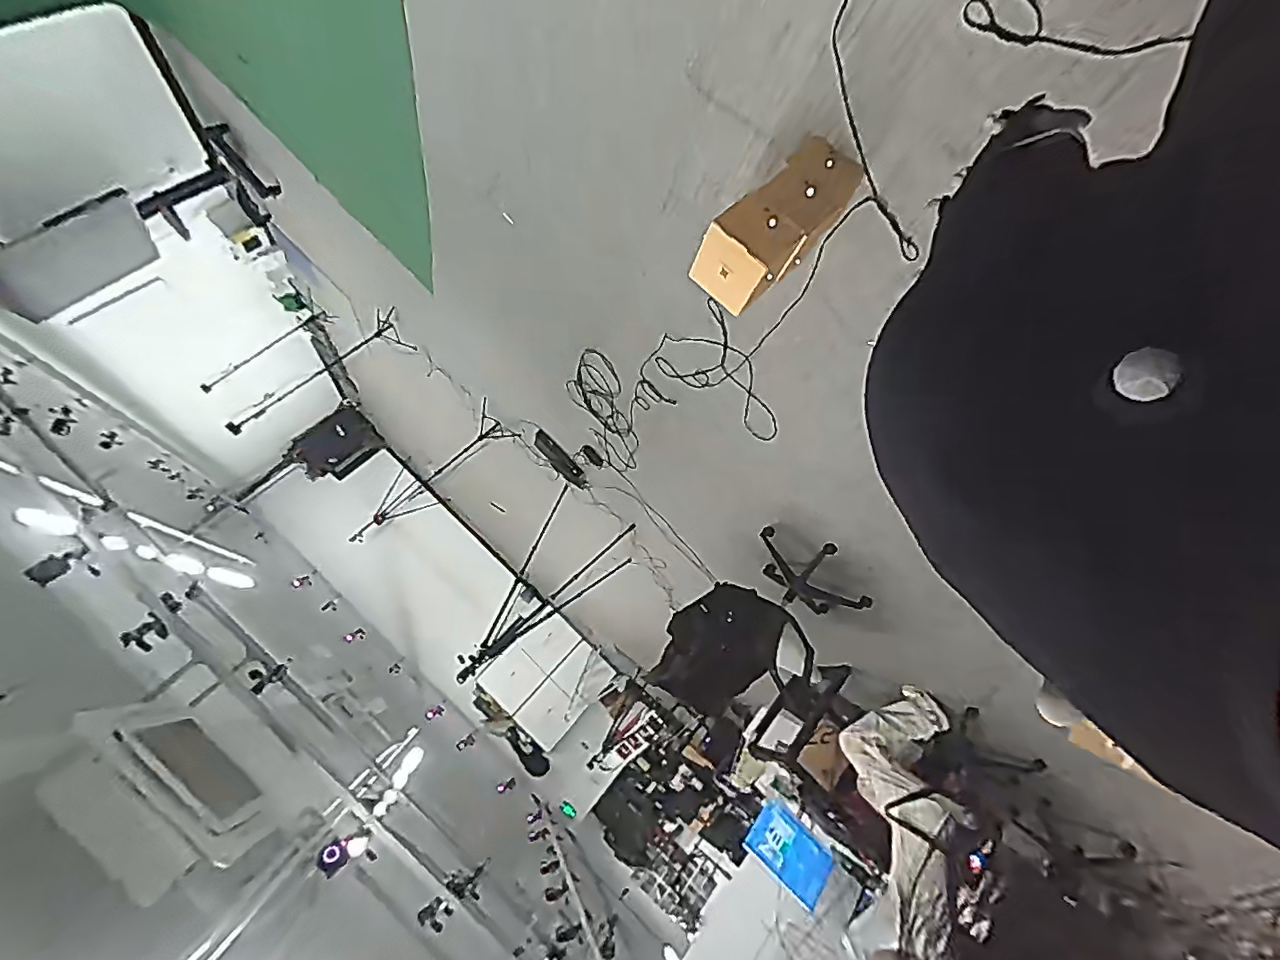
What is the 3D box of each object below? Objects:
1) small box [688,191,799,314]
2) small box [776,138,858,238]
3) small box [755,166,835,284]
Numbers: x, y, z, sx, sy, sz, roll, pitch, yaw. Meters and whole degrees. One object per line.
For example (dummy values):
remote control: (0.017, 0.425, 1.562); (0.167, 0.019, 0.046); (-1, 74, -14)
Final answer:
small box: (0.249, -0.545, 1.299); (0.168, 0.176, 0.179); (42, 155, 5)
small box: (0.449, -0.762, 1.439); (0.168, 0.176, 0.179); (42, 157, 8)
small box: (0.357, -0.645, 1.369); (0.168, 0.176, 0.179); (43, 155, 4)
